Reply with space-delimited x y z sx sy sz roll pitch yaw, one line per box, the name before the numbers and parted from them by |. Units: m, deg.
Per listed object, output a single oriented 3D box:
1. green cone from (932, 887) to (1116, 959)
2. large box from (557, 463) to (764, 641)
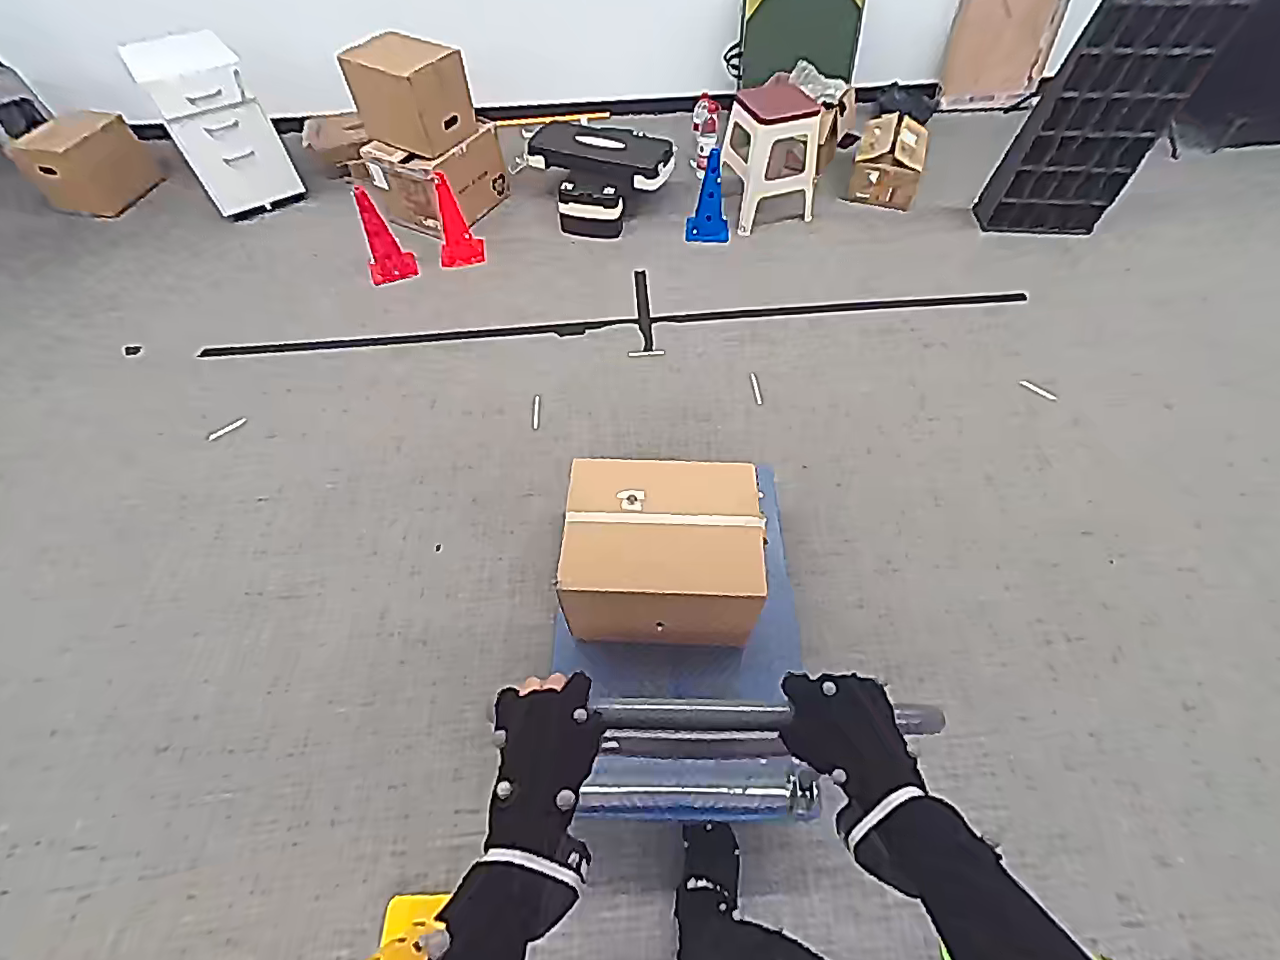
green cone | 0.706 0.840 0.939 0.202 0.368 0.200 0 55 0
large box | 0.047 0.172 1.239 0.408 0.320 0.320 1 56 2
